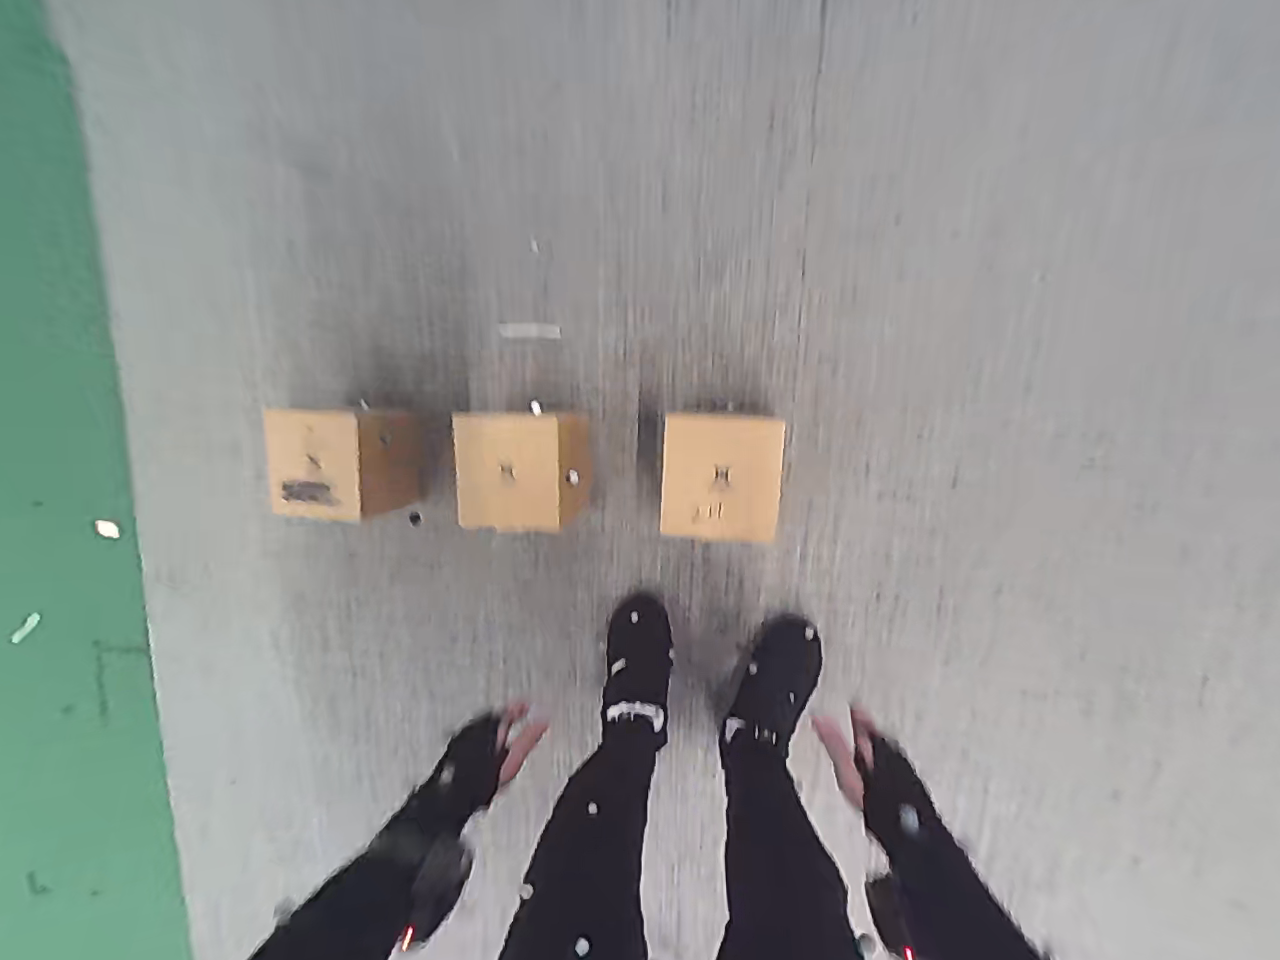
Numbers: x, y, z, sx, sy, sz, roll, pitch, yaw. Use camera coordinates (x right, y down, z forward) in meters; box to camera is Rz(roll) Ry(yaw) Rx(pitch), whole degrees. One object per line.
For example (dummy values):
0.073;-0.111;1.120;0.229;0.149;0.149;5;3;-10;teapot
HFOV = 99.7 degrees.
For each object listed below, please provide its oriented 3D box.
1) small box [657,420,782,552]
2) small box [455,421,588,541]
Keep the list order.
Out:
0.122;-0.001;0.838;0.168;0.176;0.179;4;100;10;small box
-0.187;-0.007;0.898;0.168;0.176;0.179;1;100;10;small box
